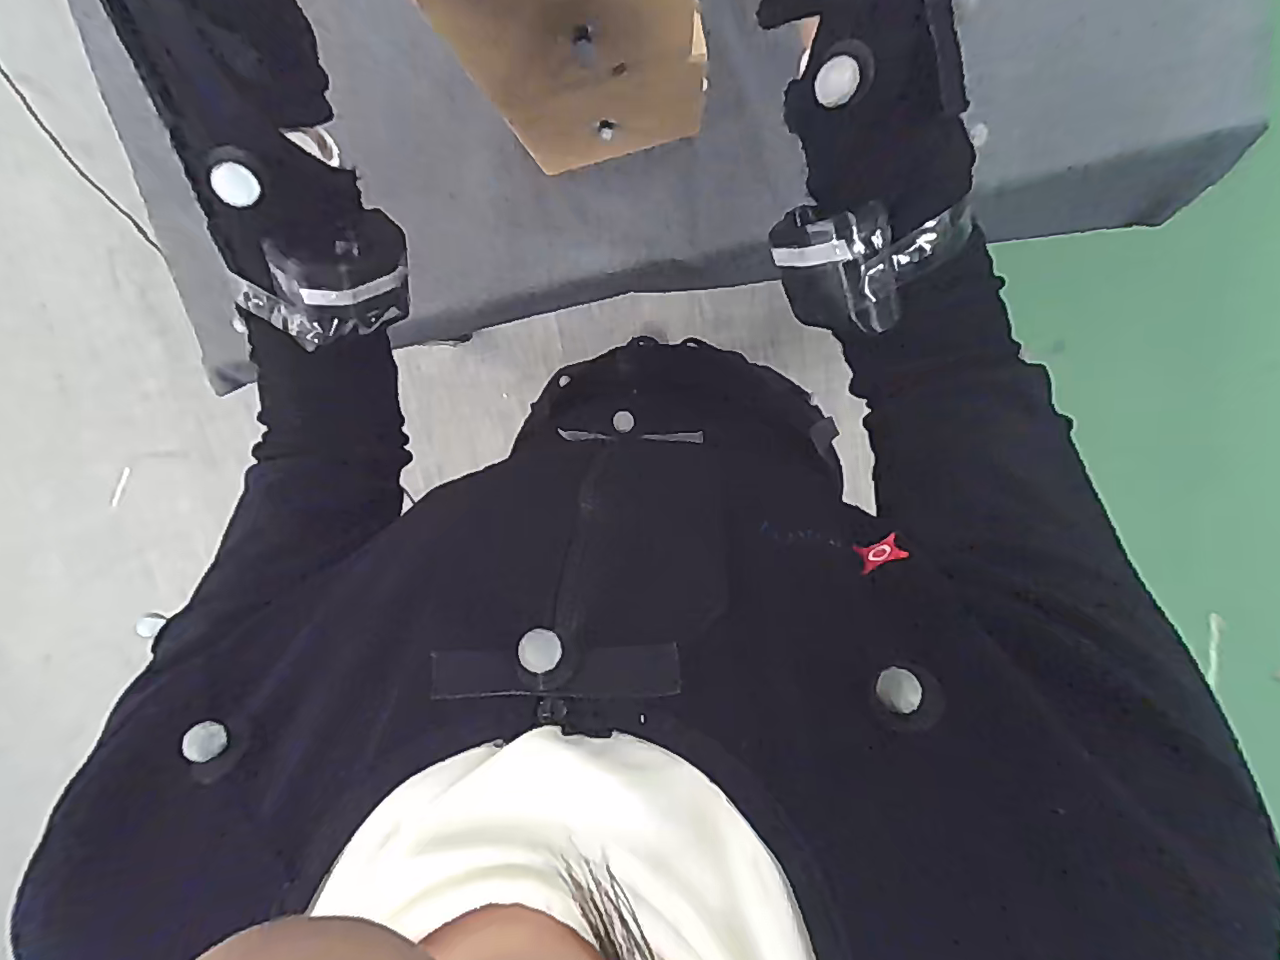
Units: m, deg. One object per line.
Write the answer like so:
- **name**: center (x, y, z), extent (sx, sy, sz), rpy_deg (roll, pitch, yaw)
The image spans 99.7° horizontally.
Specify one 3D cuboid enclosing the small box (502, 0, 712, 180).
- **small box**: center (-0.045, -0.409, 0.500), extent (0.179, 0.176, 0.168), rpy_deg (-16, 103, 6)
